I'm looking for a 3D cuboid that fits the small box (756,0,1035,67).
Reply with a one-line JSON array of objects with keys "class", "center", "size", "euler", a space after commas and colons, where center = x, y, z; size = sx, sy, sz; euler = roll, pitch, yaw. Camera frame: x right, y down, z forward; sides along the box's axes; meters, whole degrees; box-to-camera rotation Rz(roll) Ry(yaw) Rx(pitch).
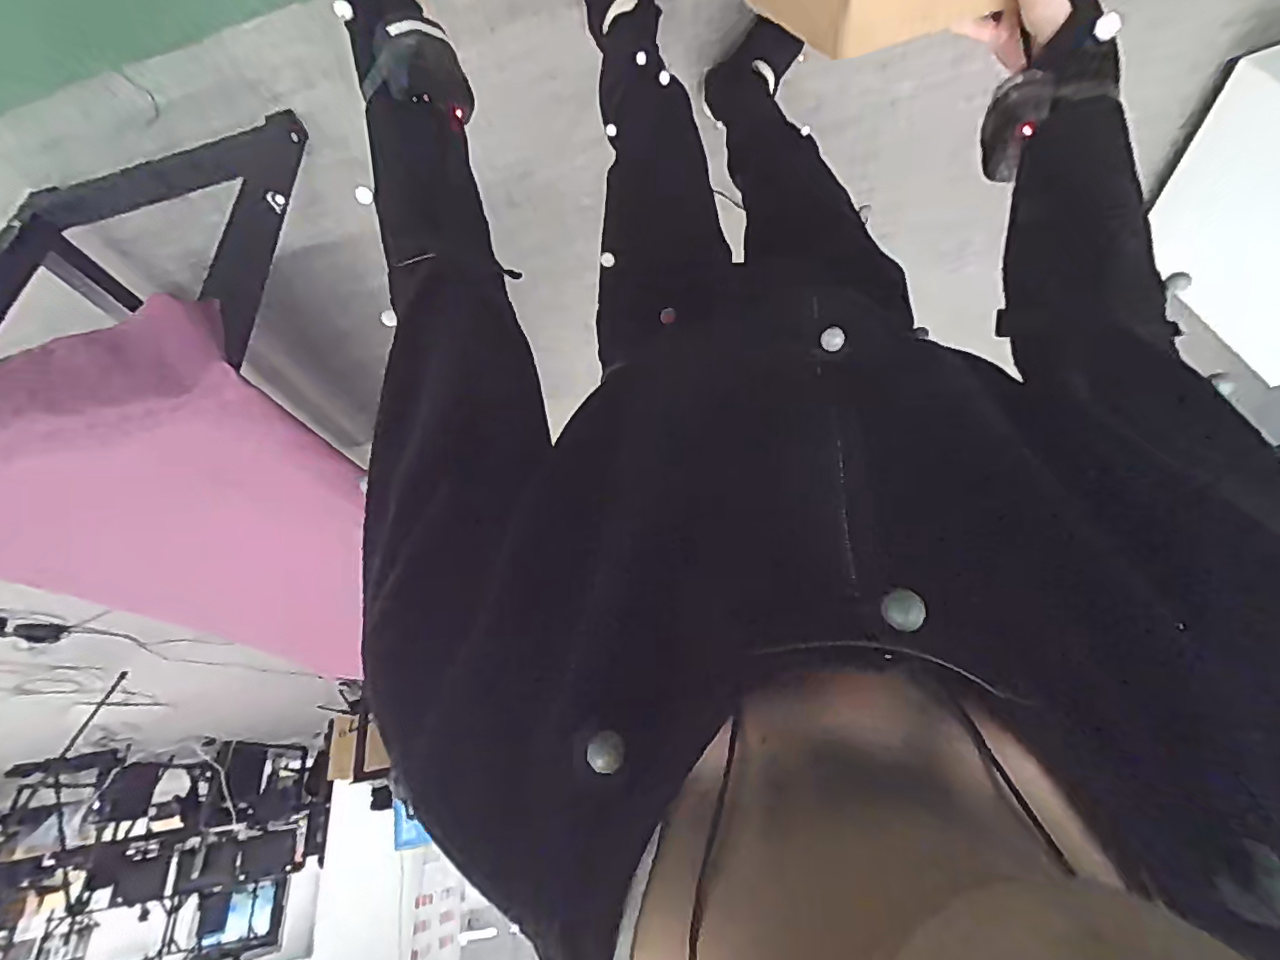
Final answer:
[{"class": "small box", "center": [0.206, -0.463, 0.415], "size": [0.179, 0.176, 0.168], "euler": [-20, 146, -5]}]
